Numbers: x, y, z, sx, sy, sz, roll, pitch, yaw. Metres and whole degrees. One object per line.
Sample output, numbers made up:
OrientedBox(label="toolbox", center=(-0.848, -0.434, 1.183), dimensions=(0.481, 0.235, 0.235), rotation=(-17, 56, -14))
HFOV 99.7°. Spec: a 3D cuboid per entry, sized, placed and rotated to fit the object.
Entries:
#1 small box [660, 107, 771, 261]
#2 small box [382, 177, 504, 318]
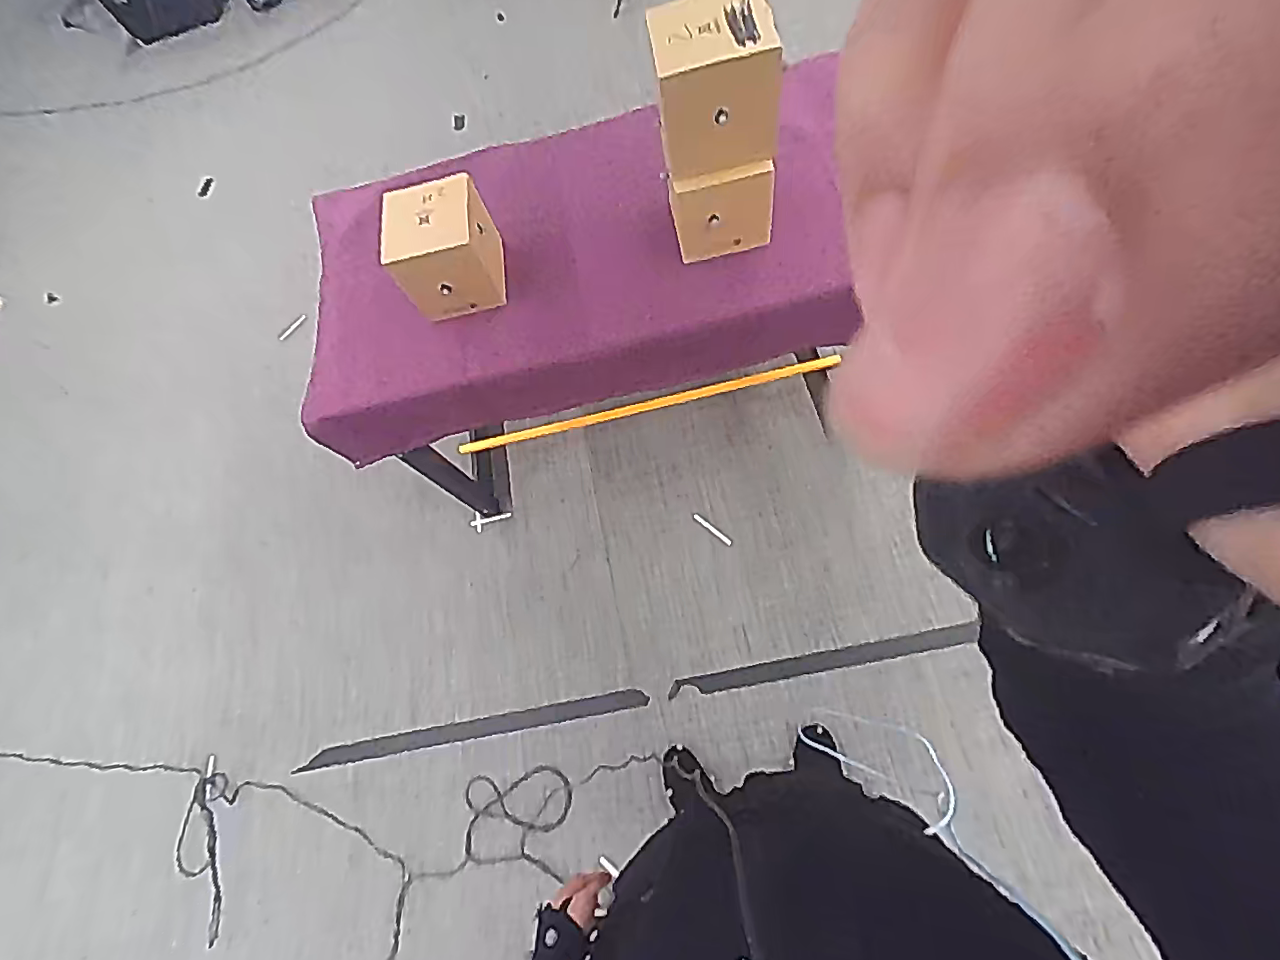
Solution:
OrientedBox(label="small box", center=(0.140, -0.529, 0.992), dimensions=(0.168, 0.176, 0.179), rotation=(-11, 67, 6))
OrientedBox(label="small box", center=(-0.369, -0.435, 1.041), dimensions=(0.168, 0.176, 0.179), rotation=(-11, 67, 5))
